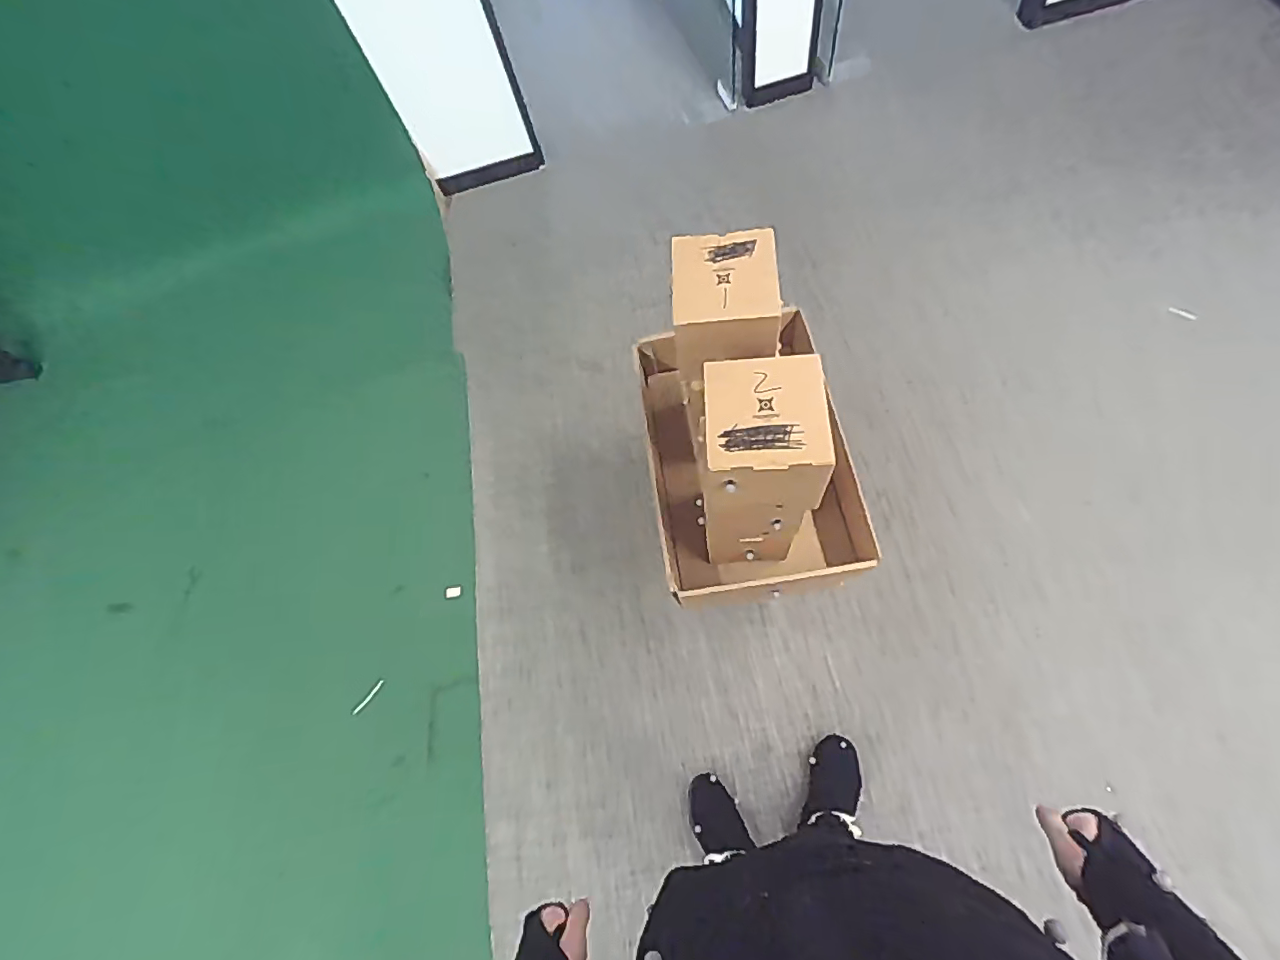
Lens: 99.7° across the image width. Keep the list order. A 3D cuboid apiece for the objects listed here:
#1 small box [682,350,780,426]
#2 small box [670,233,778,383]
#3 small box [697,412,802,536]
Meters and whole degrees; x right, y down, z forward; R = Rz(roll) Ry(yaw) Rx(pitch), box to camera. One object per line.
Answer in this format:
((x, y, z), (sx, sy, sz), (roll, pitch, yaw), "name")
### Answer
((0.168, -0.223, 1.075), (0.168, 0.176, 0.179), (-11, 67, 4), "small box")
((0.139, -0.288, 0.926), (0.168, 0.176, 0.179), (-2, 69, 8), "small box")
((0.191, -0.002, 0.971), (0.168, 0.176, 0.179), (-3, 66, 7), "small box")
